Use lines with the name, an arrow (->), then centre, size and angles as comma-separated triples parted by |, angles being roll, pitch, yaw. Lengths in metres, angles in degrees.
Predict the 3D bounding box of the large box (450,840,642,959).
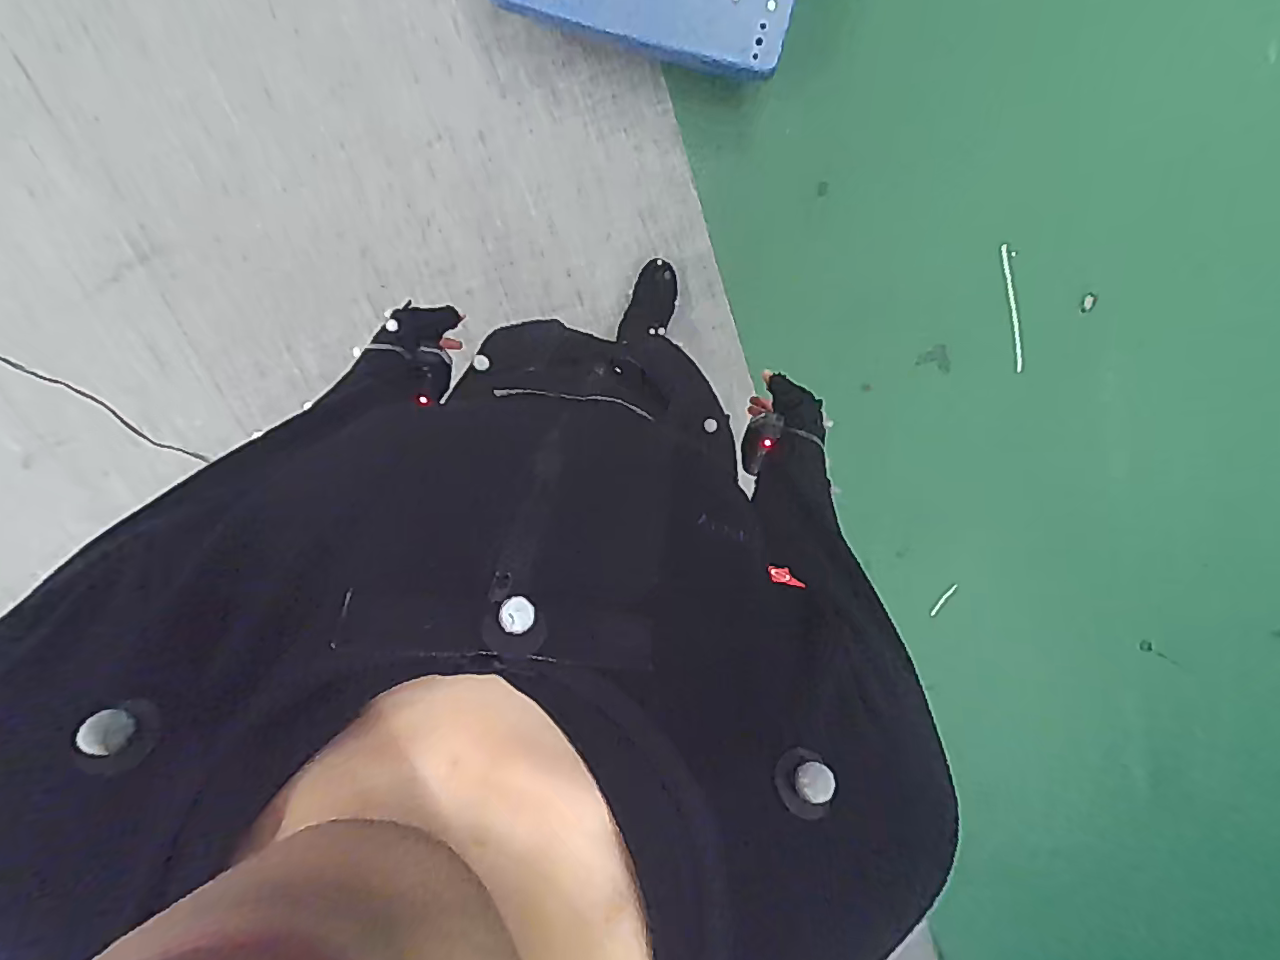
large box -> -0.233, 1.235, 1.410 | 0.408, 0.320, 0.320 | -20, 105, 6
